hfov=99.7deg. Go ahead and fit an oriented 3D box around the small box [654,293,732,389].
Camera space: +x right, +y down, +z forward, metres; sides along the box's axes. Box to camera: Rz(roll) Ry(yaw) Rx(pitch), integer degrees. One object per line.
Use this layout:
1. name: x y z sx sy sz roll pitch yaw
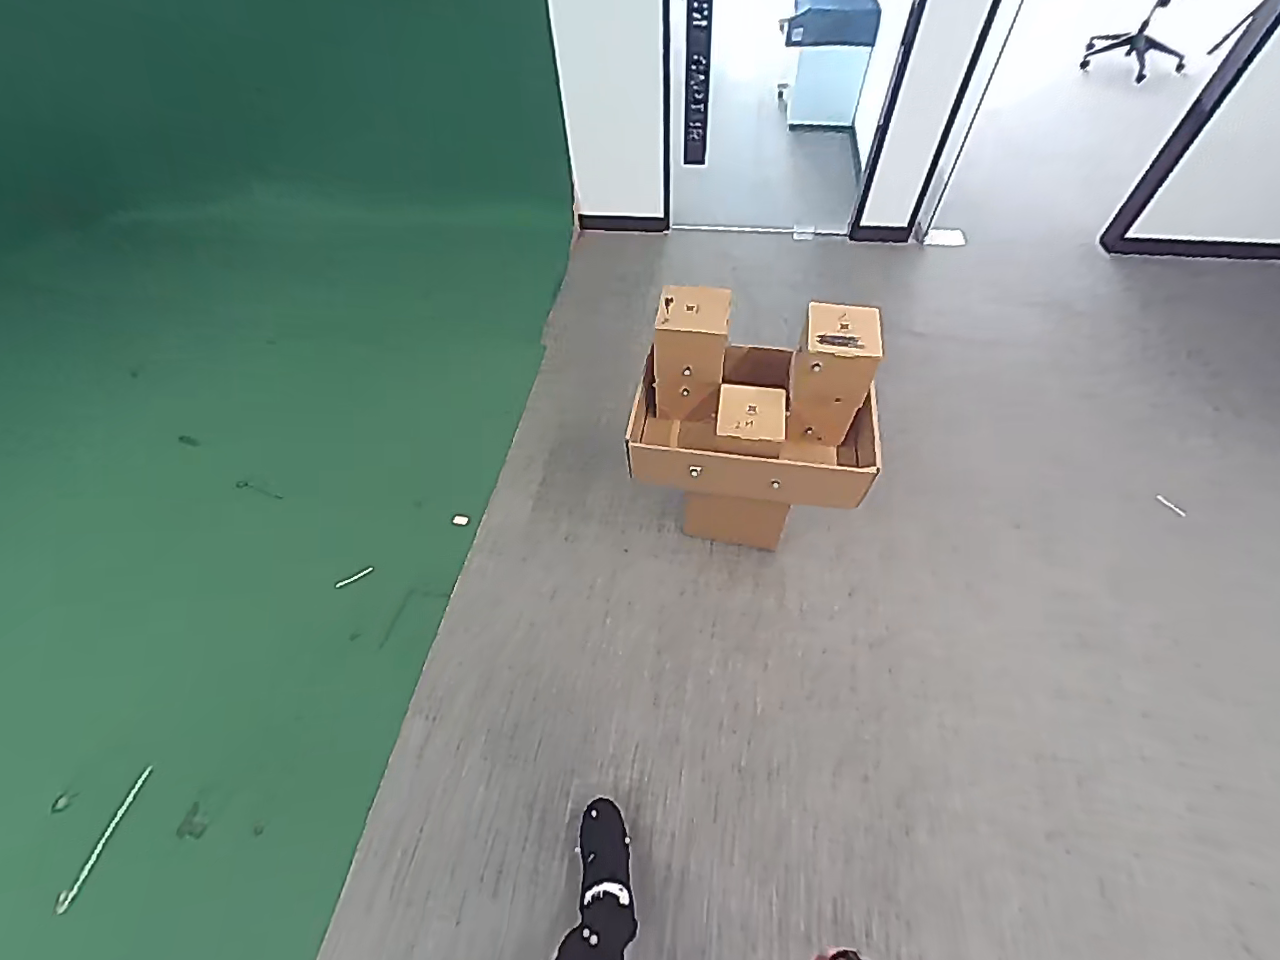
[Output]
1. small box: 0.134 -0.354 1.390 0.179 0.176 0.168 8 56 7
